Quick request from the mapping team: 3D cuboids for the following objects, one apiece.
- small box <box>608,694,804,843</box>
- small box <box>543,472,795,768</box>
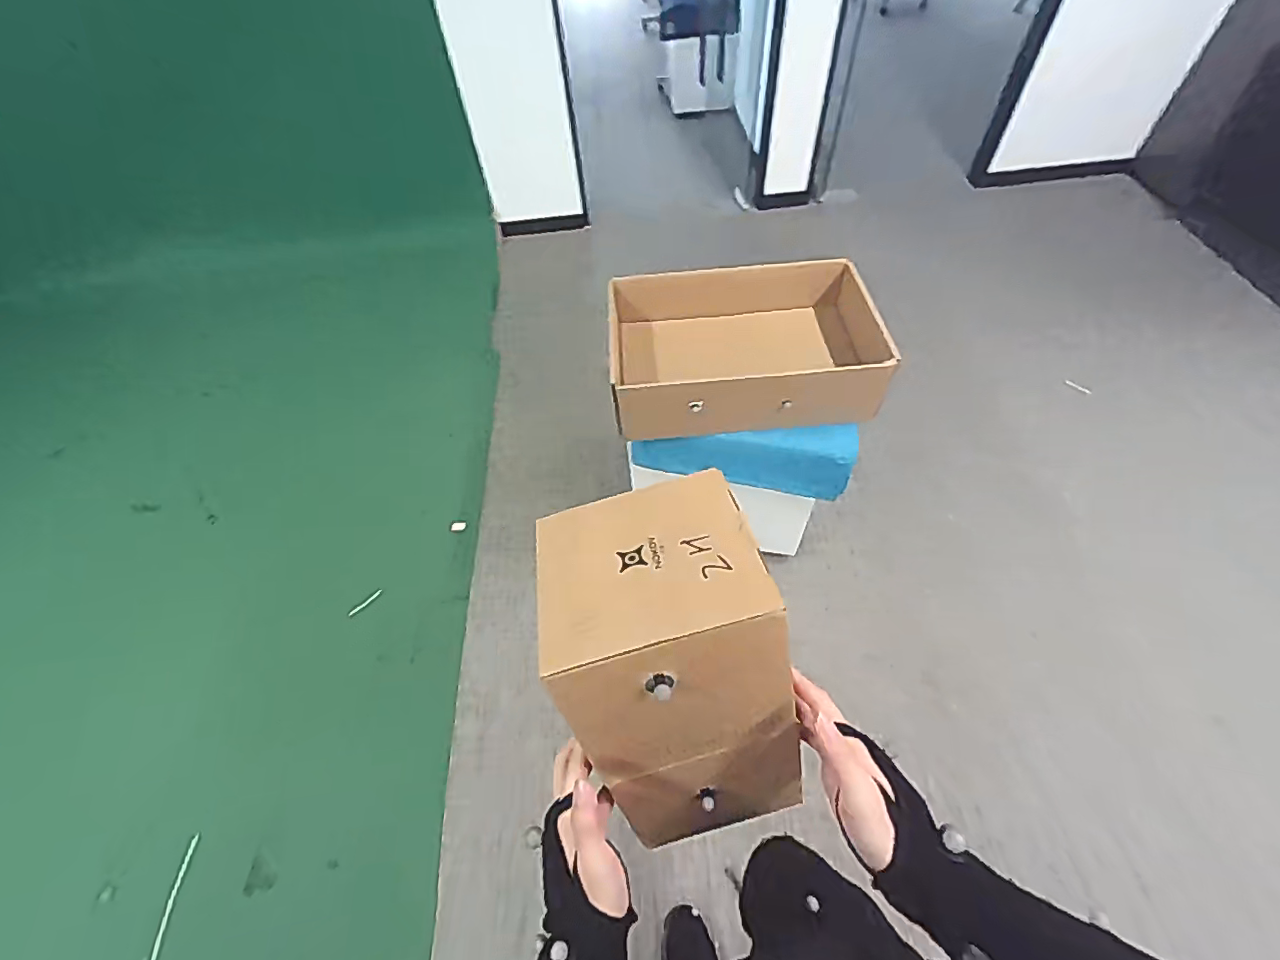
[{"bbox_3d":[0.061,0.250,0.576,0.179,0.176,0.168,-16,37,0],"label":"small box"},{"bbox_3d":[0.025,0.124,0.477,0.179,0.176,0.168,-15,37,1],"label":"small box"}]
